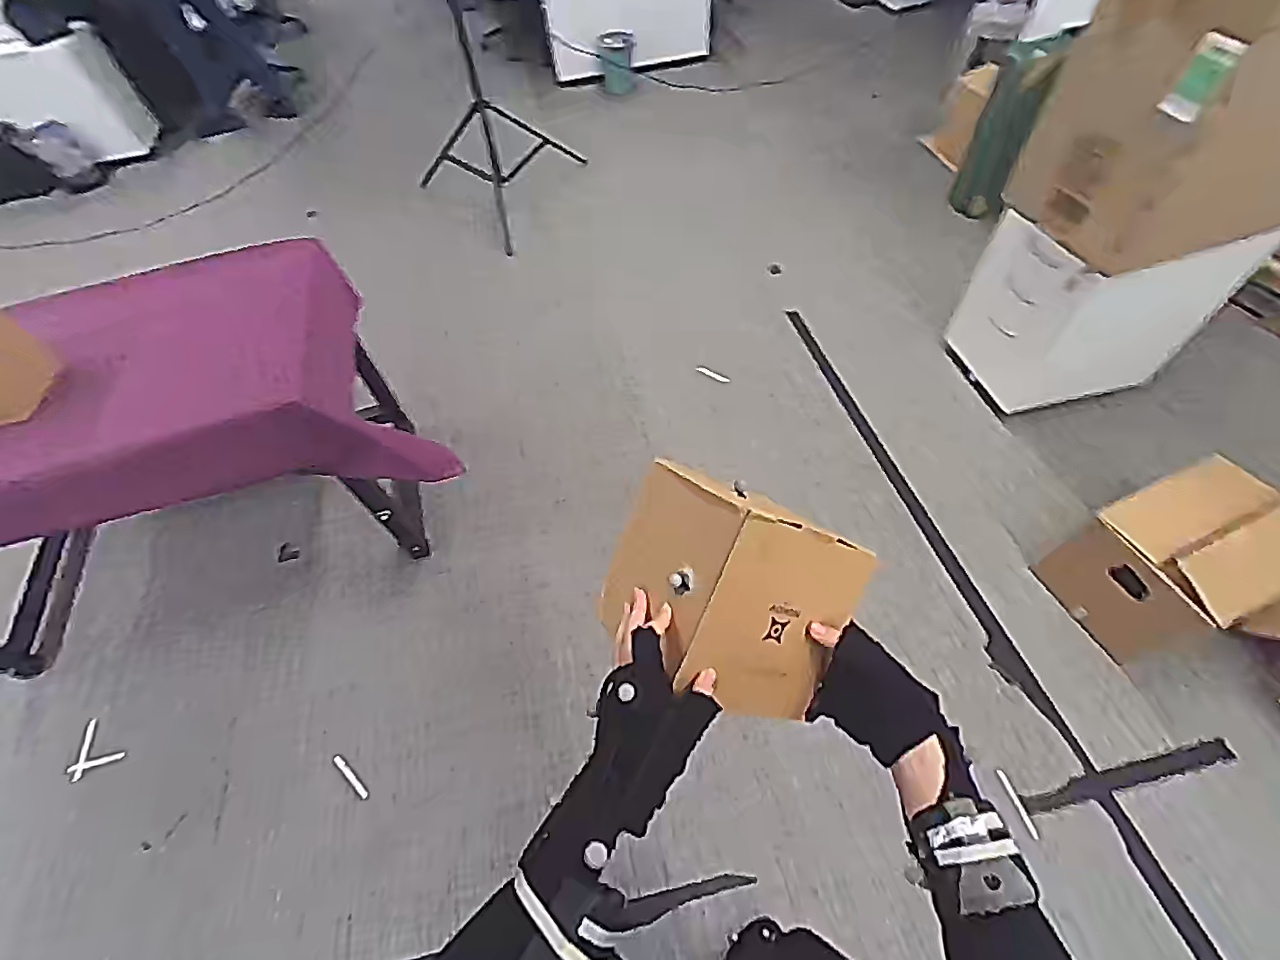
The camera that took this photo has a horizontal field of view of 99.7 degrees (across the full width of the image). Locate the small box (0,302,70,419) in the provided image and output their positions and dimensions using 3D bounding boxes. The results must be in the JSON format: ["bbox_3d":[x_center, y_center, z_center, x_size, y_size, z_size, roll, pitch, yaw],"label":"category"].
[{"bbox_3d":[-1.333,-0.232,1.091,0.168,0.176,0.179,-10,55,-2],"label":"small box"}]

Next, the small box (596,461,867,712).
[{"bbox_3d":[0.077,0.096,0.531,0.176,0.168,0.179,33,103,60],"label":"small box"}]
